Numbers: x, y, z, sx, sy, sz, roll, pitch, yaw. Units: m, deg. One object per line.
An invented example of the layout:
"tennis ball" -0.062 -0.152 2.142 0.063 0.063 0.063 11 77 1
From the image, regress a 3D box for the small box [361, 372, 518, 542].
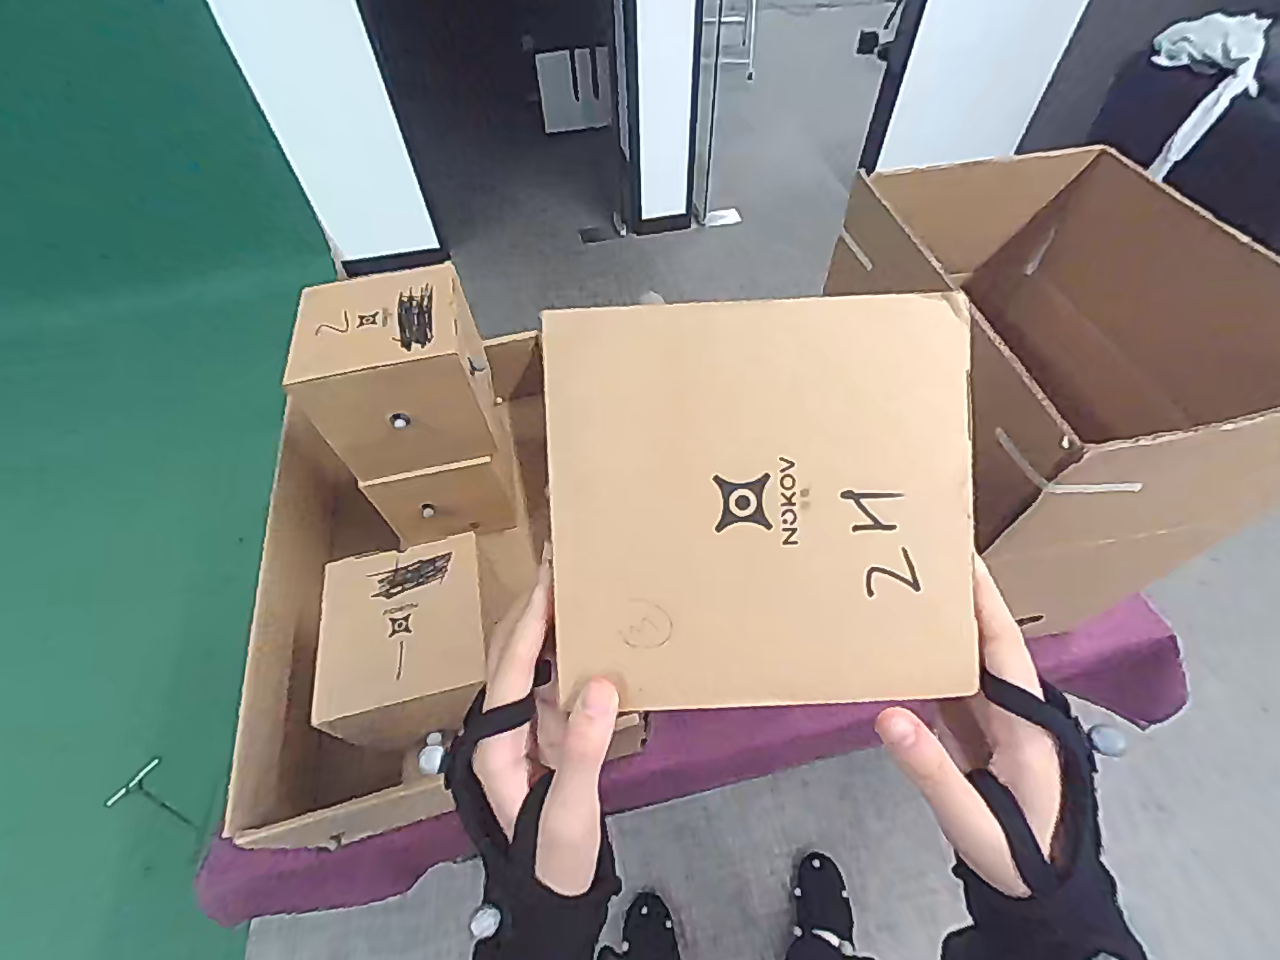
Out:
"small box" -0.281 -0.025 0.788 0.168 0.176 0.179 -12 55 -5

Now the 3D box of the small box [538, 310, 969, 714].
"small box" 0.047 0.012 0.301 0.179 0.176 0.168 -2 92 0
